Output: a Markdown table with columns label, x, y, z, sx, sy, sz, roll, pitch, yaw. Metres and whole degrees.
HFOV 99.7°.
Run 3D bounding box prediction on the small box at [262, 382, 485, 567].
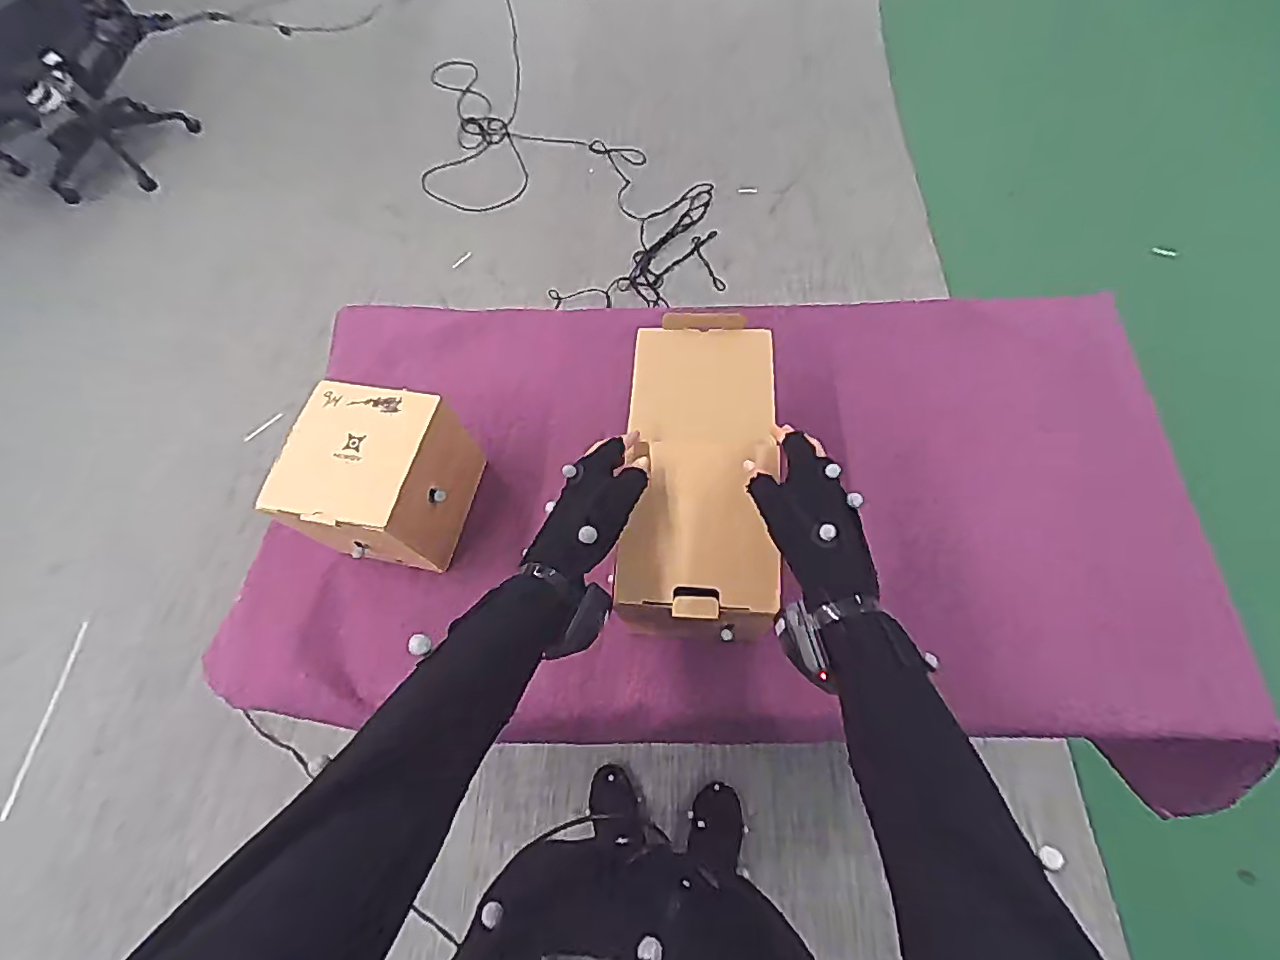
| label | x | y | z | sx | sy | sz | roll | pitch | yaw |
| --- | --- | --- | --- | --- | --- | --- | --- | --- | --- |
| small box | -0.322 | 0.000 | 0.697 | 0.168 | 0.176 | 0.179 | 9 | 67 | 9 |

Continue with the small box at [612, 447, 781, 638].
| label | x | y | z | sx | sy | sz | roll | pitch | yaw |
| --- | --- | --- | --- | --- | --- | --- | --- | --- | --- |
| small box | 0.068 | 0.079 | 0.624 | 0.168 | 0.176 | 0.179 | 3 | 65 | 6 |
